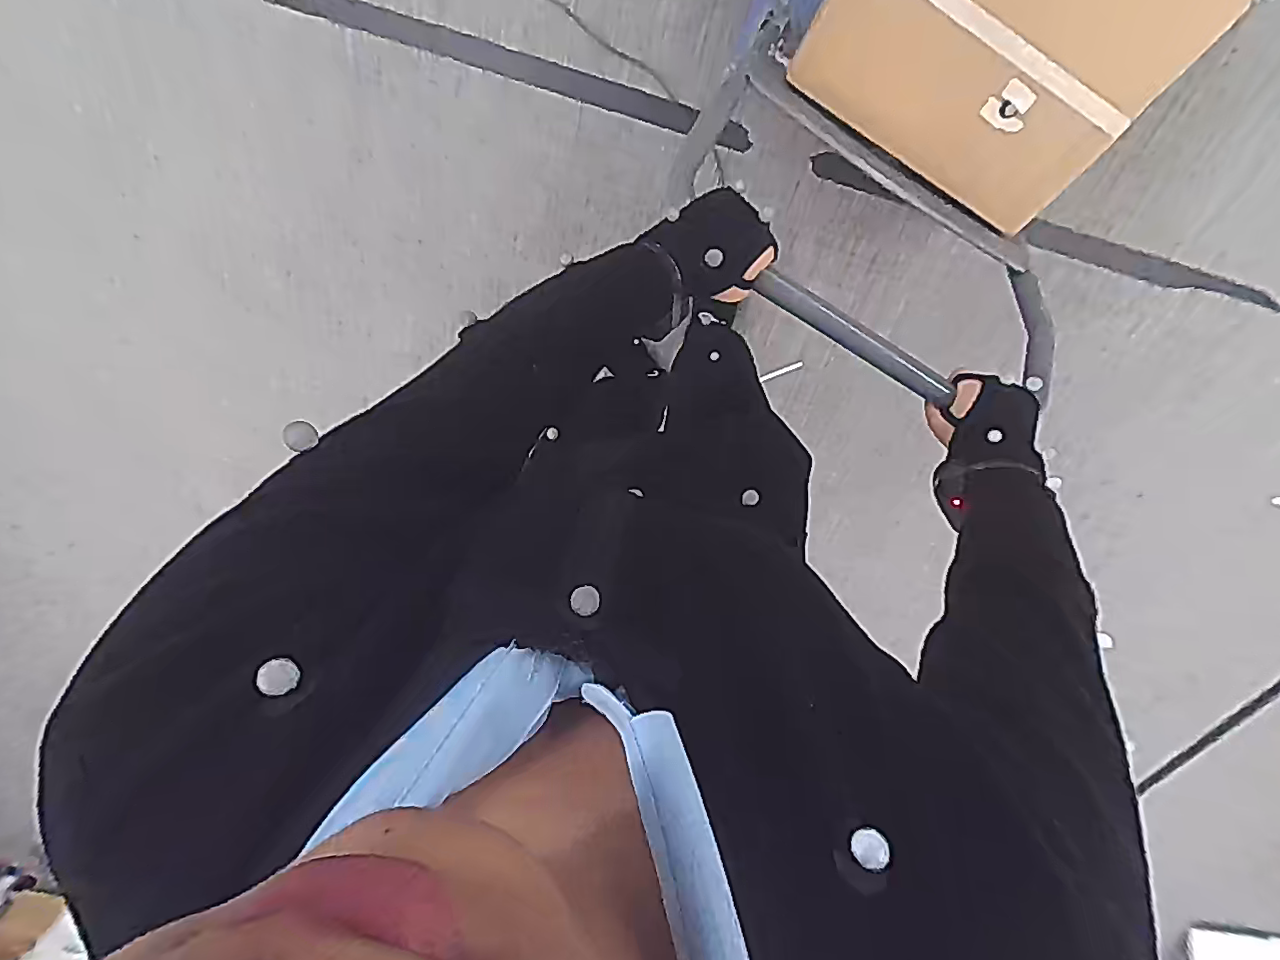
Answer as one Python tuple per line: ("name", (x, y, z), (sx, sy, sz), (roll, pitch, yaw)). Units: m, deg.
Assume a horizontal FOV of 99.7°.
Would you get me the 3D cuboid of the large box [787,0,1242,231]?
("large box", (0.472, -0.646, 0.771), (0.408, 0.320, 0.320), (28, 137, -9))
